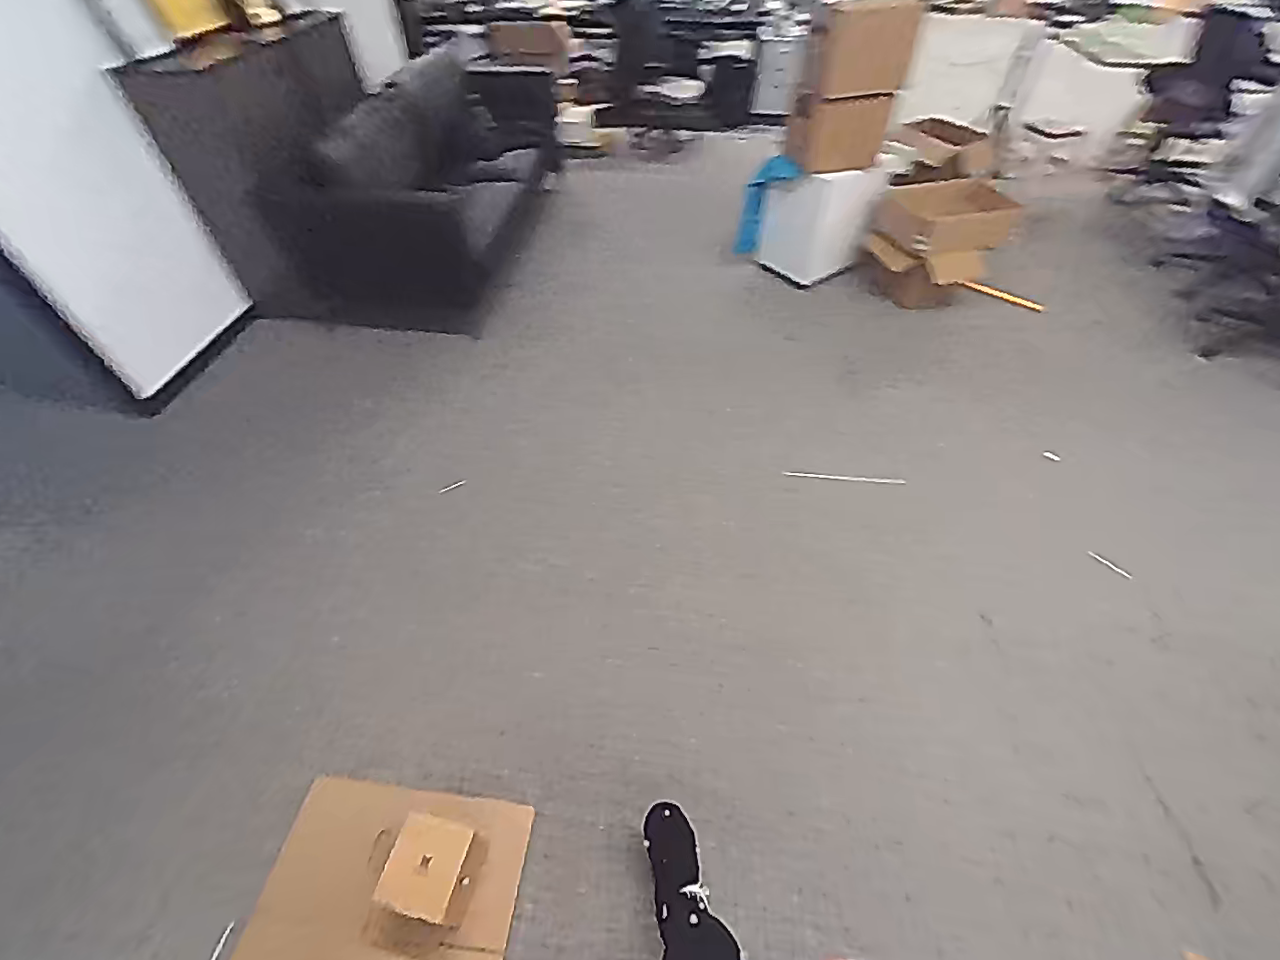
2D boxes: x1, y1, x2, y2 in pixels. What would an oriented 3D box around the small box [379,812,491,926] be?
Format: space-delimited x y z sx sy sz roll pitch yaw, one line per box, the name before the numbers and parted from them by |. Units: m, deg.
small box | -0.463 0.906 1.258 0.168 0.176 0.179 9 50 9
